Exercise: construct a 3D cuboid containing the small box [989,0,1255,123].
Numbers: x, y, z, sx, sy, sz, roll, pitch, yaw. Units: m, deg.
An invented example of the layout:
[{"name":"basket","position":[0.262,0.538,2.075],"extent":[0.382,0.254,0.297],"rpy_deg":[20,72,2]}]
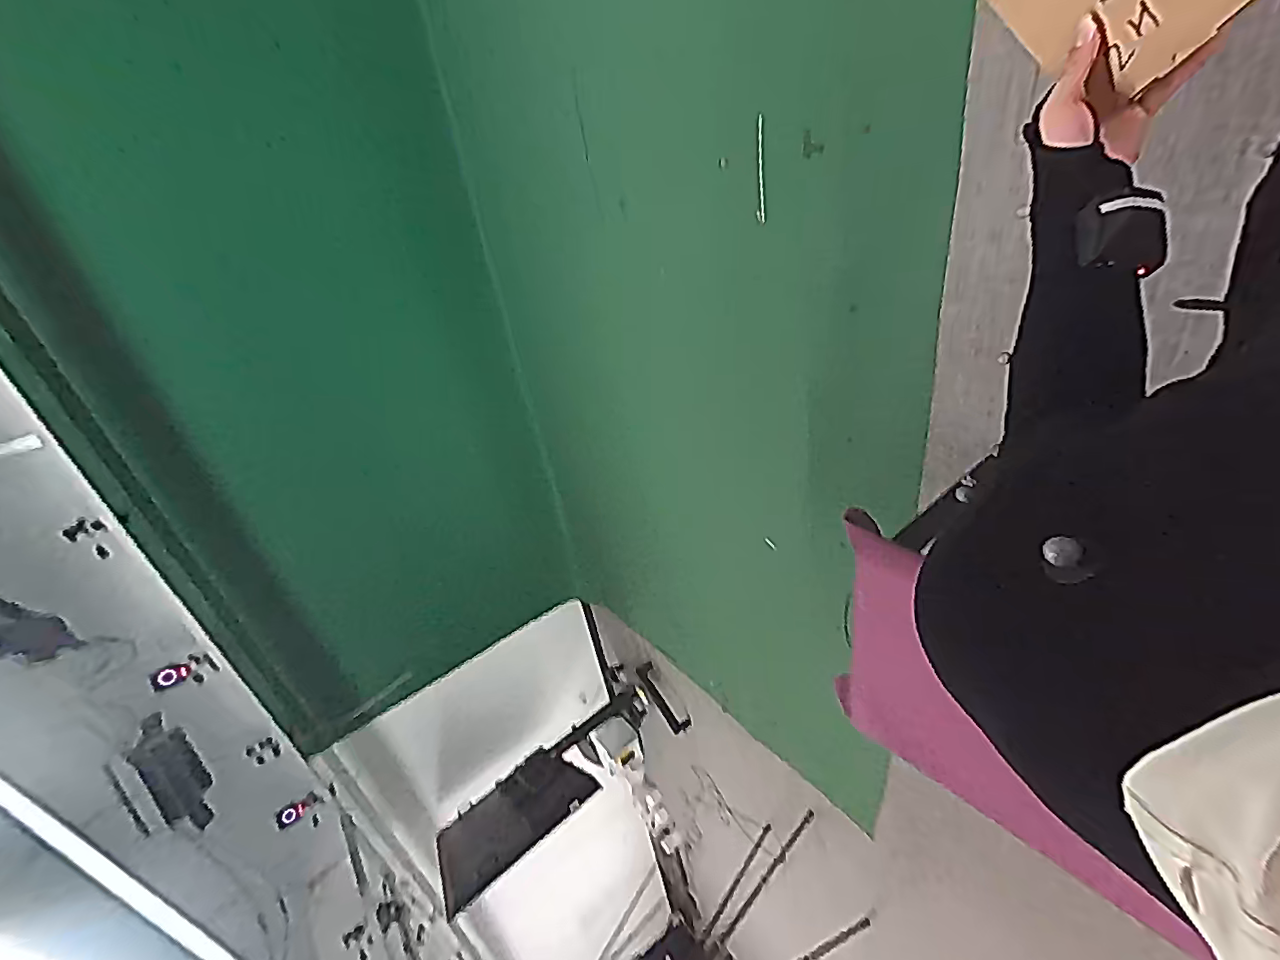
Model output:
[{"name":"small box","position":[0.422,-0.442,0.416],"extent":[0.179,0.176,0.168],"rpy_deg":[52,179,0]}]
